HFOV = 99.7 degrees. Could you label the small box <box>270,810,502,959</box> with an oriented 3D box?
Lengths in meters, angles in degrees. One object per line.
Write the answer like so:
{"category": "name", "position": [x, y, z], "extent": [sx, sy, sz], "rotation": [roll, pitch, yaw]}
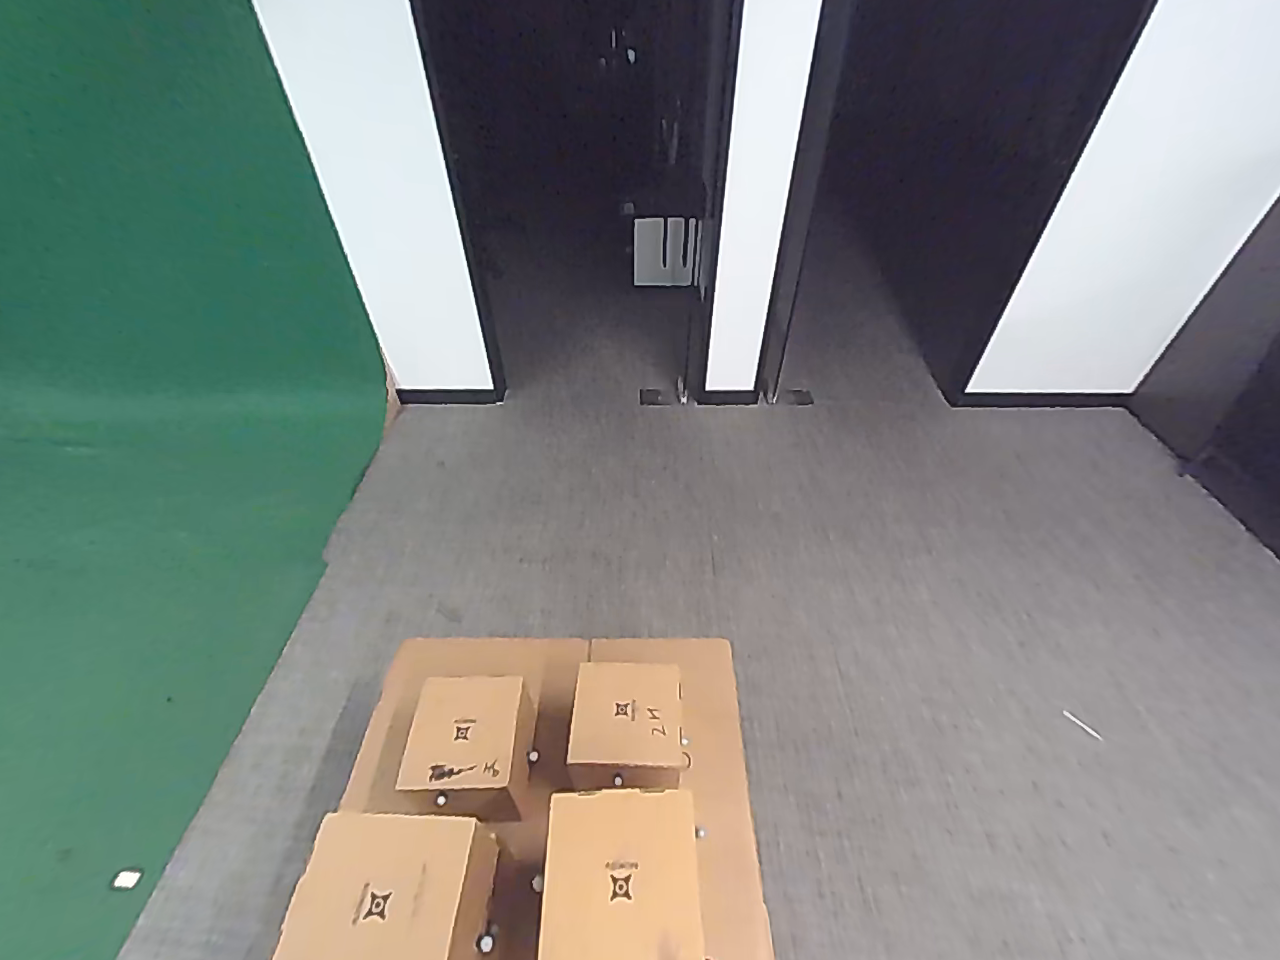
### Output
{"category": "small box", "position": [-0.272, 0.494, 0.614], "extent": [0.179, 0.176, 0.168], "rotation": [2, 45, 1]}

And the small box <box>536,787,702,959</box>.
{"category": "small box", "position": [-0.018, 0.479, 0.625], "extent": [0.168, 0.176, 0.179], "rotation": [-2, 43, 0]}

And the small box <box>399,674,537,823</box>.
{"category": "small box", "position": [-0.270, 0.445, 0.899], "extent": [0.168, 0.176, 0.179], "rotation": [-2, 42, 0]}
